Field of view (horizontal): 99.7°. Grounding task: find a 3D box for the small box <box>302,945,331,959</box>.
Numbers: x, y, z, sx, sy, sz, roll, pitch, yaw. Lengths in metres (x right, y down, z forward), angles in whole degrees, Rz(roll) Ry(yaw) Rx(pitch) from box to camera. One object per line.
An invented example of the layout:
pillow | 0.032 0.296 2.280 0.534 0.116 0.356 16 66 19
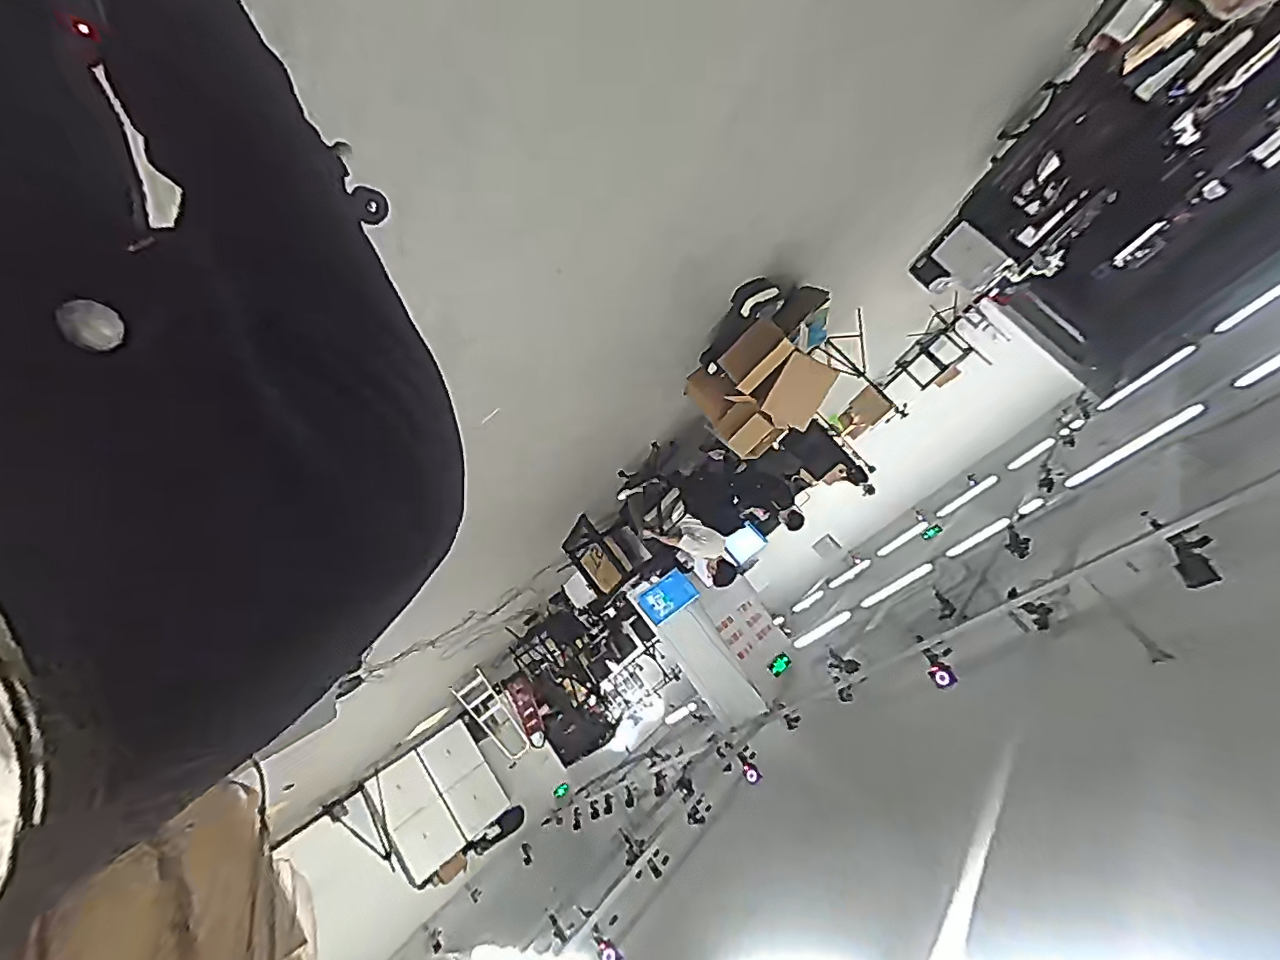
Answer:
small box | -0.976 1.496 1.555 0.168 0.176 0.179 -30 160 -32
